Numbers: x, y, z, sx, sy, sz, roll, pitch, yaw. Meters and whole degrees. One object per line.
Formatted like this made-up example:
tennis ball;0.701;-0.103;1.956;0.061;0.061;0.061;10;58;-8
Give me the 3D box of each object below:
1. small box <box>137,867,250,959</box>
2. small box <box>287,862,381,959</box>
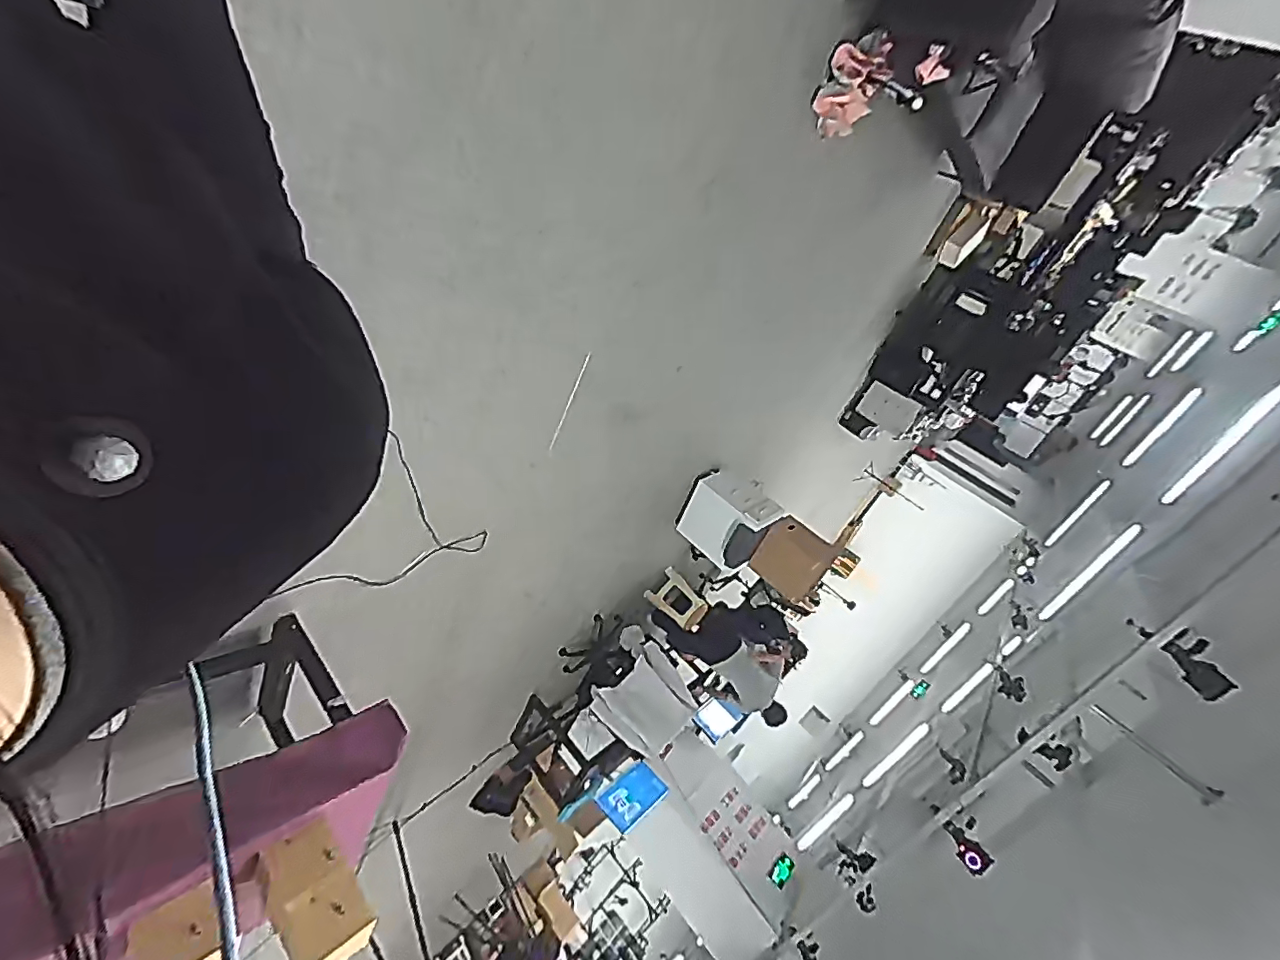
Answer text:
small box;-1.098;1.111;1.330;0.179;0.176;0.168;-11;135;-51
small box;-0.834;1.188;1.465;0.168;0.176;0.179;-13;139;-49
